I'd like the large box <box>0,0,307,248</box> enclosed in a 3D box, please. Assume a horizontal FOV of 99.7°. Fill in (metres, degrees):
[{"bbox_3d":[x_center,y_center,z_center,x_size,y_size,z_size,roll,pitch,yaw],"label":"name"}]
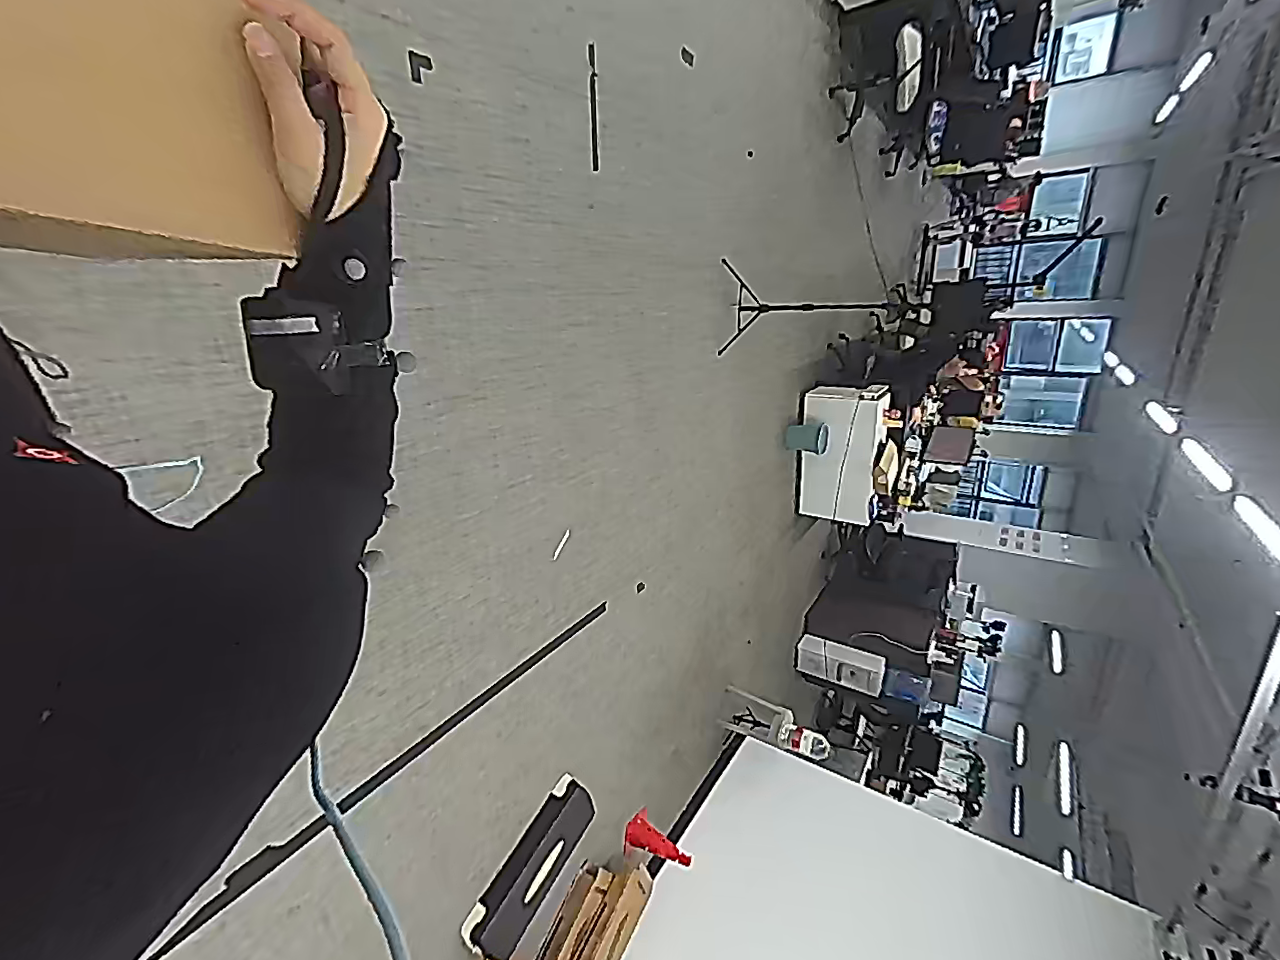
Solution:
[{"bbox_3d":[-0.432,-0.289,0.212,0.408,0.320,0.320,-20,119,-58],"label":"large box"}]
